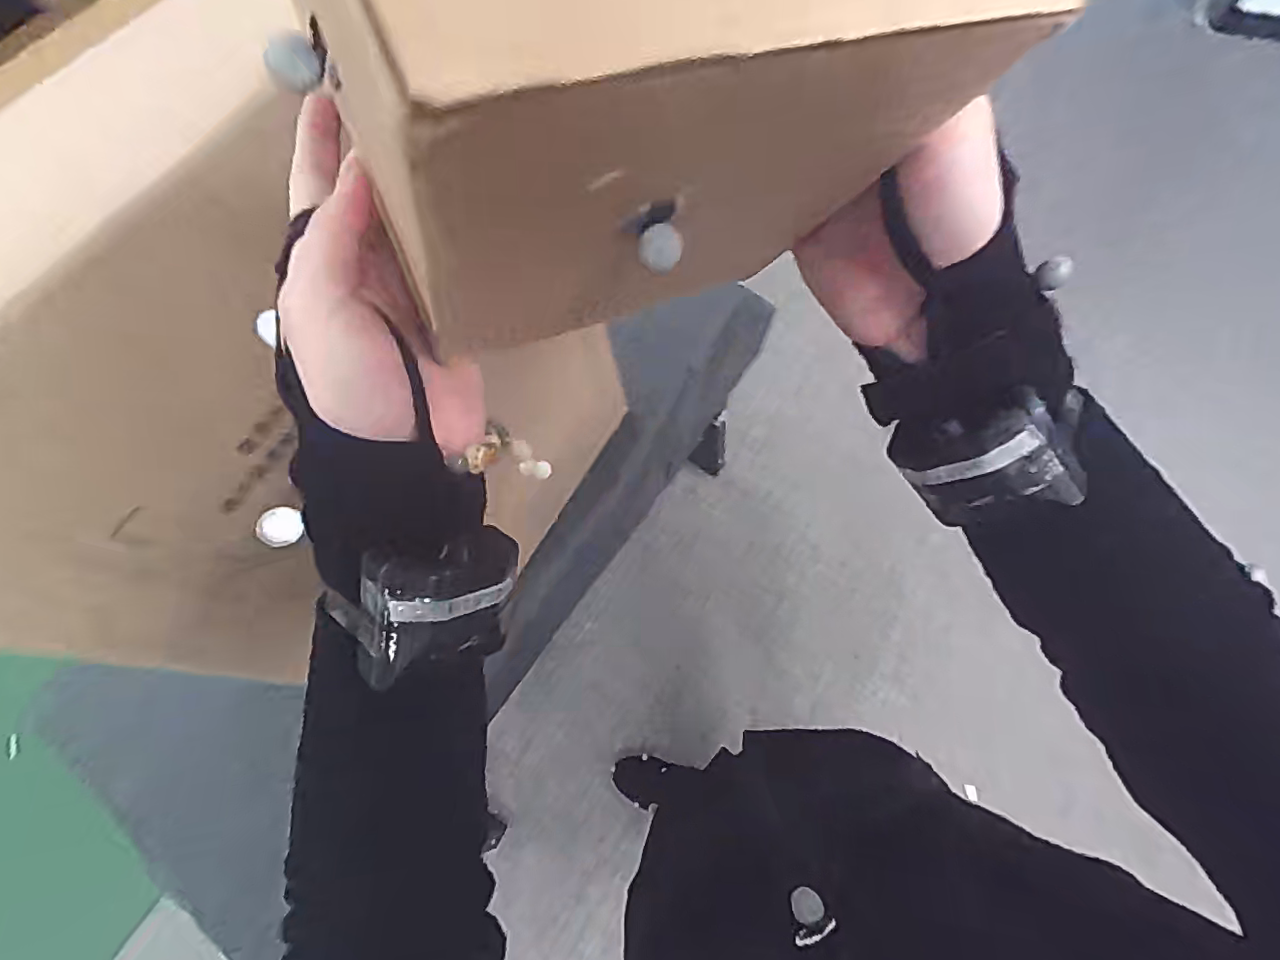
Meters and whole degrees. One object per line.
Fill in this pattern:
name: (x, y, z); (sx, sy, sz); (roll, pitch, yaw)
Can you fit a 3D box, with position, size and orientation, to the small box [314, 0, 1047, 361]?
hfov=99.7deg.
small box: (-0.016, -0.159, 0.197); (0.179, 0.176, 0.168); (-22, 94, -16)
